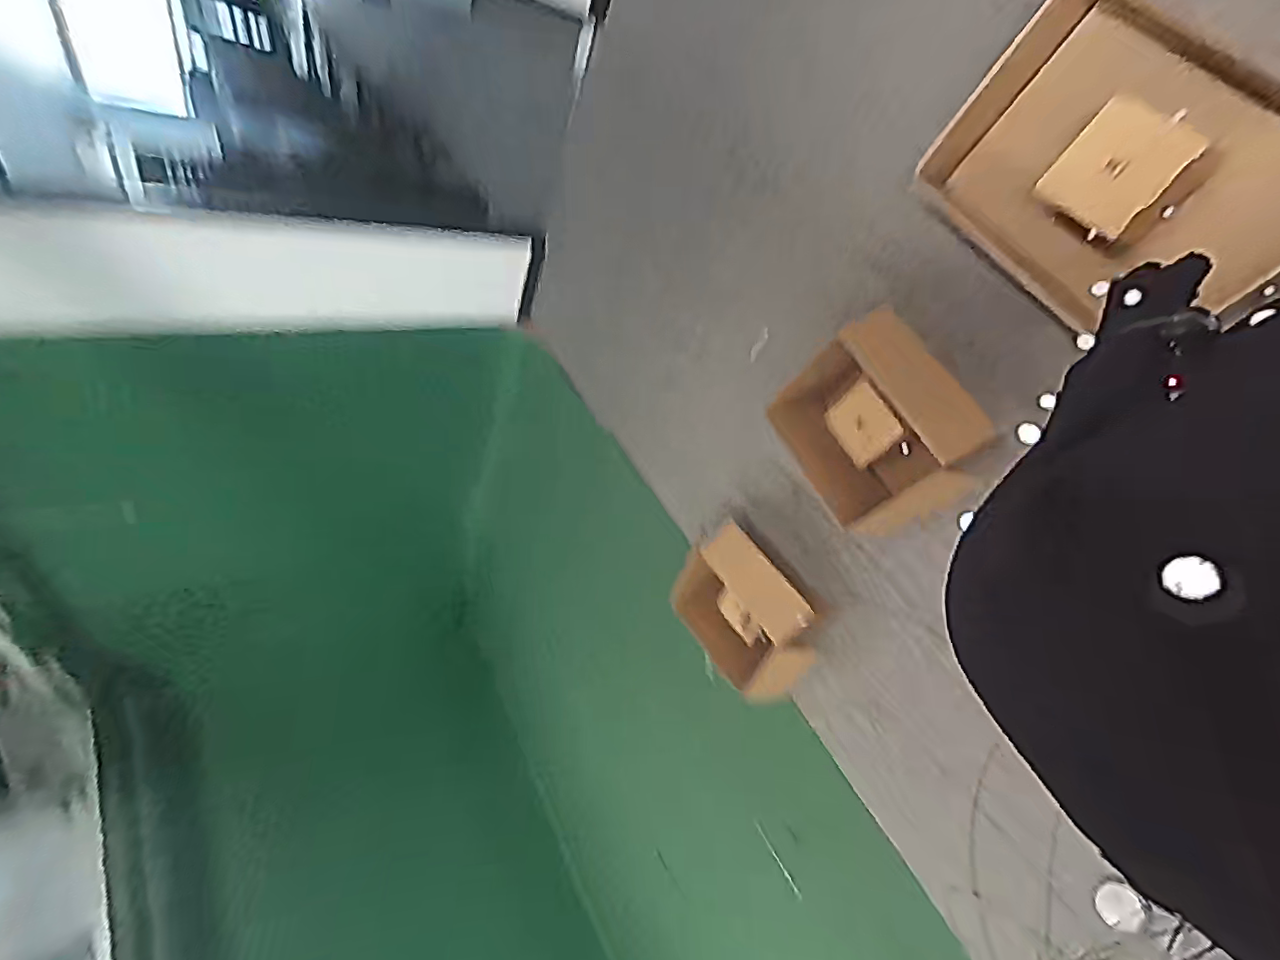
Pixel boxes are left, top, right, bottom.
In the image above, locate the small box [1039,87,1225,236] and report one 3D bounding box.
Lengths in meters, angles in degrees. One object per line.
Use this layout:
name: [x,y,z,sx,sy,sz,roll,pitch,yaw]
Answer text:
small box: [0.888,-0.566,0.981,0.179,0.176,0.168,56,138,25]
